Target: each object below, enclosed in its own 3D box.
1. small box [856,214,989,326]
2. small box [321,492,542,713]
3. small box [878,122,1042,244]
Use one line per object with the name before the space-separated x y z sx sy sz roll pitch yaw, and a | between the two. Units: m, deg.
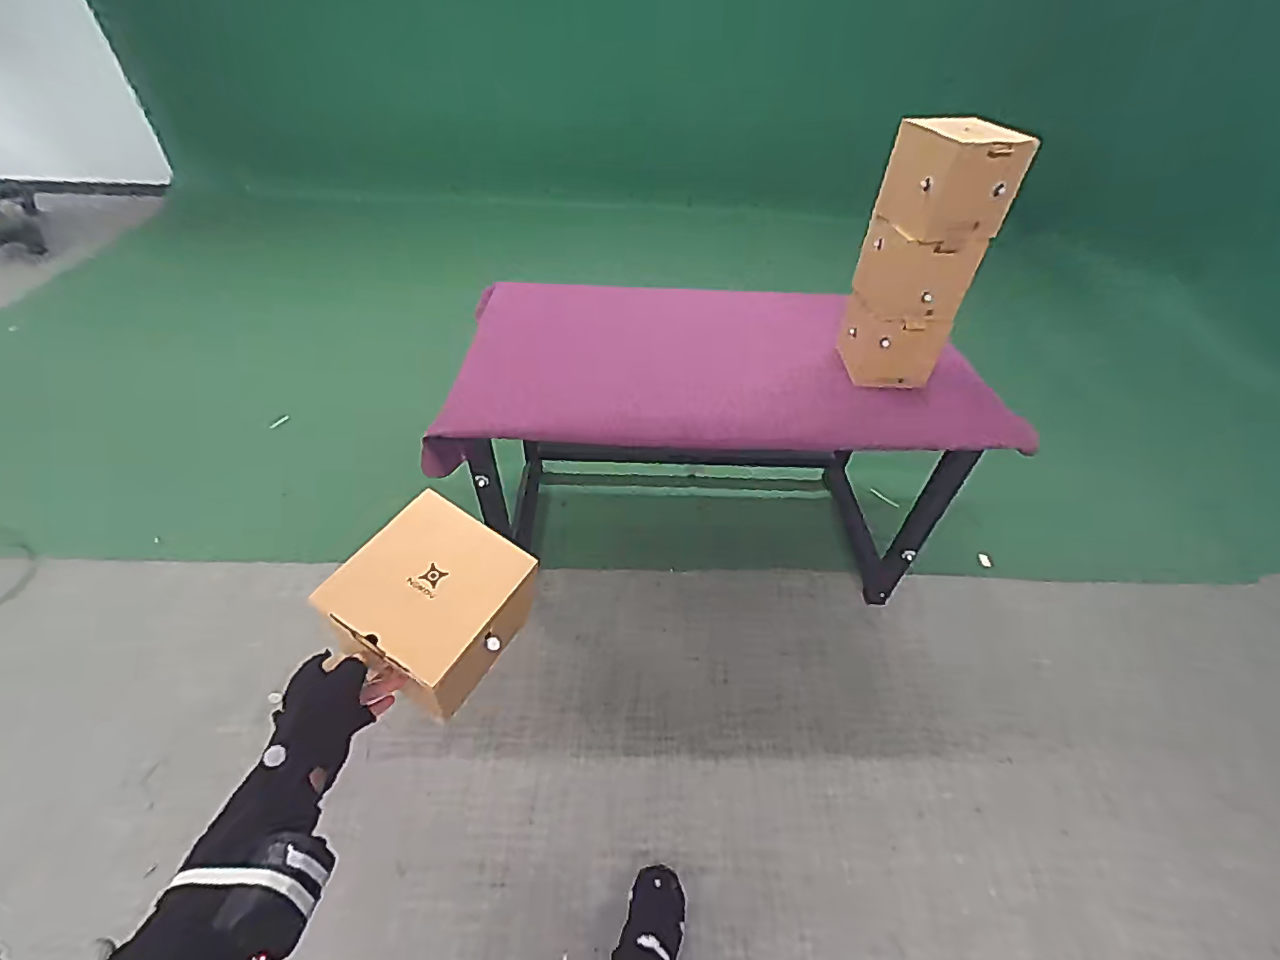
small box | 0.579 -0.444 1.140 0.168 0.176 0.179 -1 45 -3
small box | -0.243 0.154 0.664 0.168 0.176 0.179 32 56 7
small box | 0.591 -0.559 1.025 0.168 0.176 0.179 -8 46 -11
